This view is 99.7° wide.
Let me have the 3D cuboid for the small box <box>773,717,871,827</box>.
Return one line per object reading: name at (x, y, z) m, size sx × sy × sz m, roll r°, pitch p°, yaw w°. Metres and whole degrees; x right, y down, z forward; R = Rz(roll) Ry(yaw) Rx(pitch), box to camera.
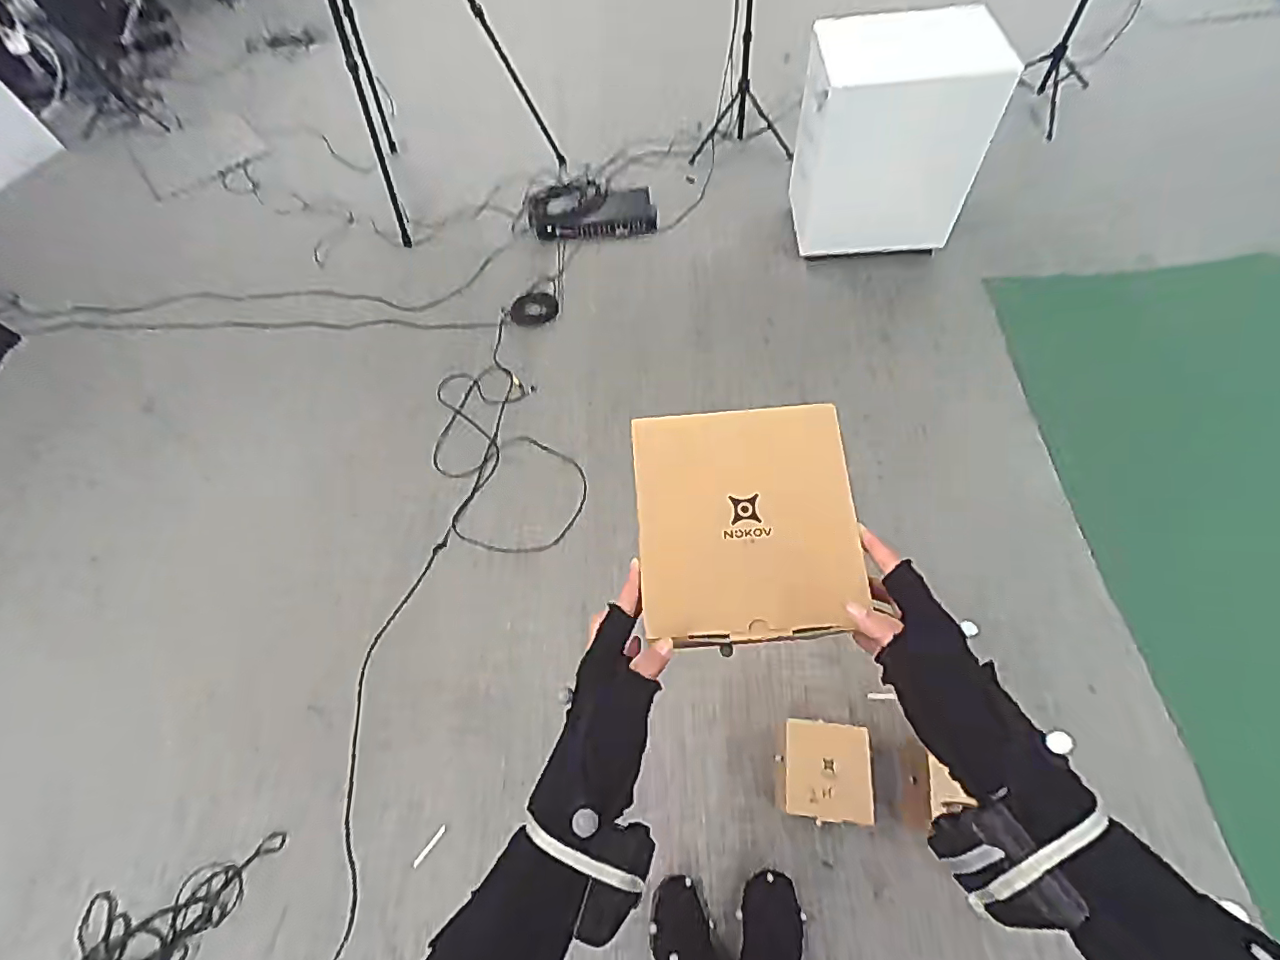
small box at (0.376, 0.615, 1.142) m, size 0.168 × 0.176 × 0.179 m, roll 4°, pitch 61°, yaw 9°
